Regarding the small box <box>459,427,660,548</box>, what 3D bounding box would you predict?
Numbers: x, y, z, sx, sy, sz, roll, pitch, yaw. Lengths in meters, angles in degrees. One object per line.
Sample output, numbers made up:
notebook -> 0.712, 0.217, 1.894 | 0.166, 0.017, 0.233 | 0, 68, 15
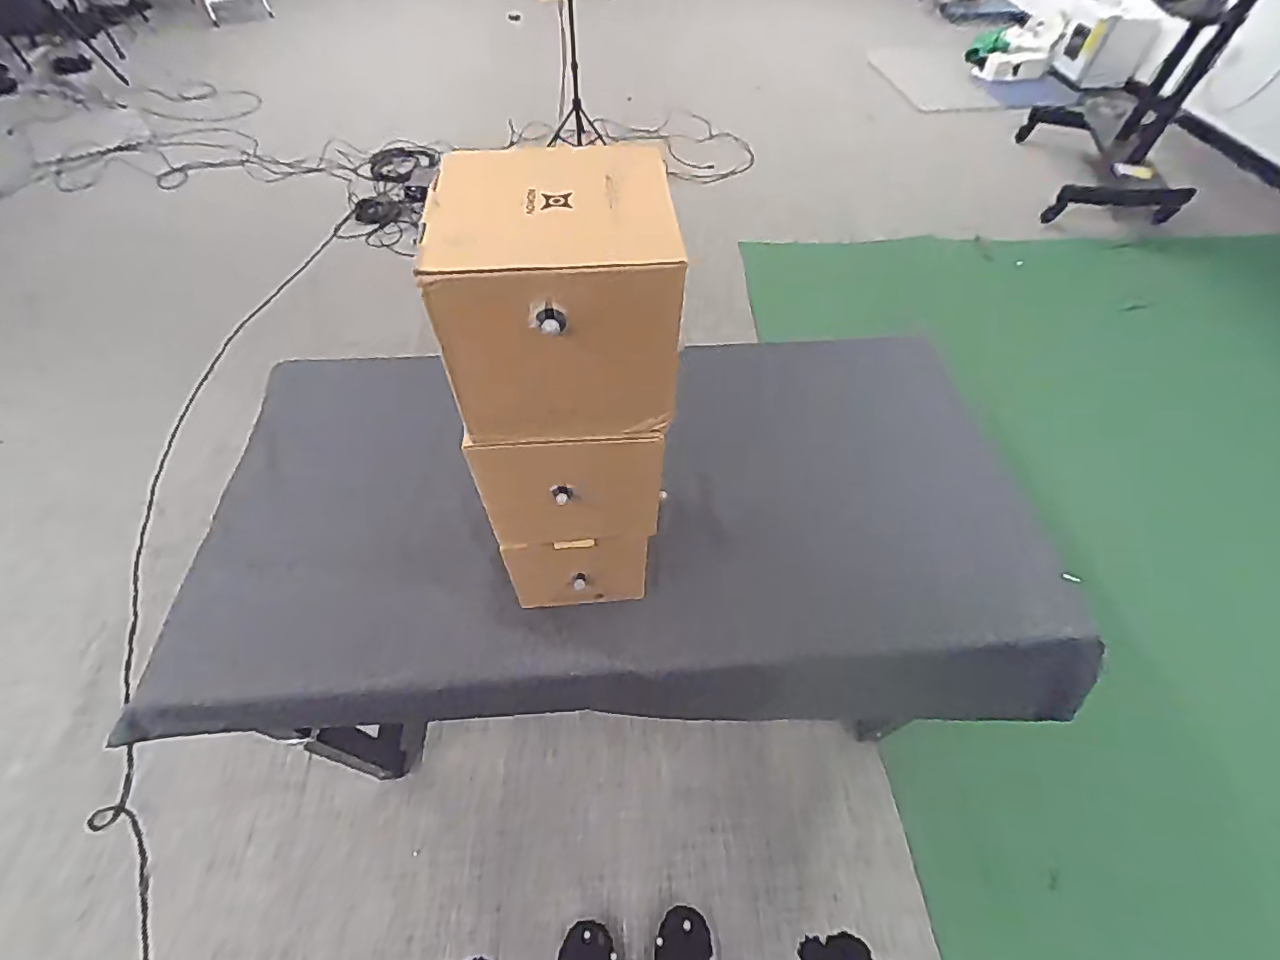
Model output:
small box -> -0.076, -0.039, 0.580 | 0.179, 0.176, 0.168 | -3, 54, -3

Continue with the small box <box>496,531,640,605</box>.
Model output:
small box -> -0.087, 0.056, 0.714 | 0.168, 0.176, 0.179 | -4, 54, -5

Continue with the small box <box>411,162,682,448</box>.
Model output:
small box -> -0.068, -0.140, 0.453 | 0.179, 0.176, 0.168 | -3, 55, -6
